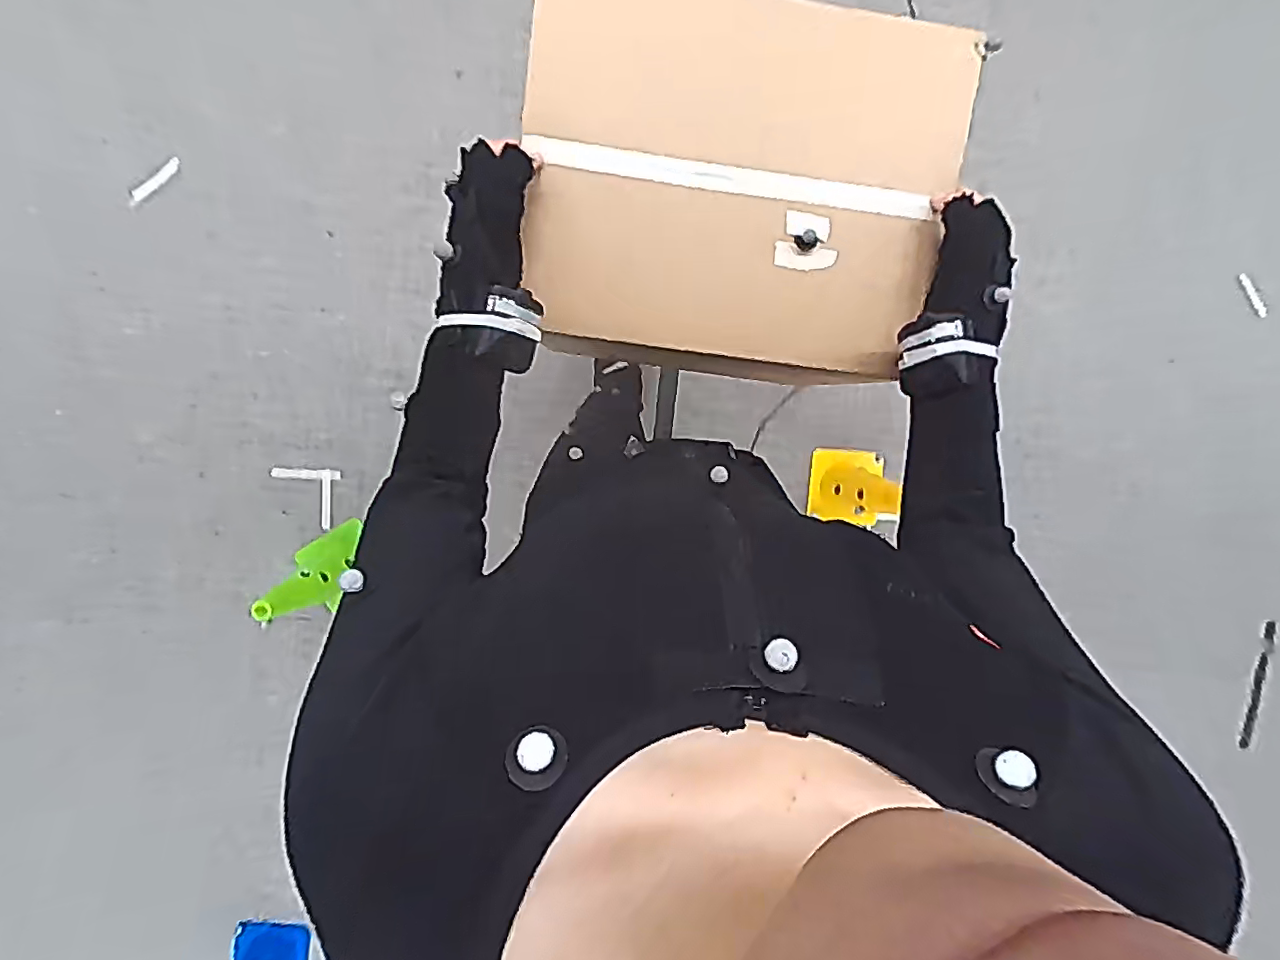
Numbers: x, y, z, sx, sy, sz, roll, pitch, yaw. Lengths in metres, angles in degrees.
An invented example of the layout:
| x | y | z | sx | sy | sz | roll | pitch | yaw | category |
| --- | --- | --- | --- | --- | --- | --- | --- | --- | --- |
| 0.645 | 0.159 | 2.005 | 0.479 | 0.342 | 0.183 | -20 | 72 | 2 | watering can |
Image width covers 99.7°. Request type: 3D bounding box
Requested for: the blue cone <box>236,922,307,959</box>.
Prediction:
| x | y | z | sx | sy | sz | roll | pitch | yaw | category |
| --- | --- | --- | --- | --- | --- | --- | --- | --- | --- |
| -1.026 | 1.343 | 1.348 | 0.192 | 0.380 | 0.193 | 8 | 94 | -2 | blue cone |

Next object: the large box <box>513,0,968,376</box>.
| x | y | z | sx | sy | sz | roll | pitch | yaw | category |
| --- | --- | --- | --- | --- | --- | --- | --- | --- | --- |
| 0.082 | -0.308 | 0.651 | 0.408 | 0.320 | 0.320 | 7 | 99 | -4 | large box |

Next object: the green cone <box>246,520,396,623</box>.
| x | y | z | sx | sy | sz | roll | pitch | yaw | category |
| --- | --- | --- | --- | --- | --- | --- | --- | --- | --- |
| -0.767 | 0.245 | 1.253 | 0.202 | 0.368 | 0.200 | -32 | 95 | 2 | green cone |
